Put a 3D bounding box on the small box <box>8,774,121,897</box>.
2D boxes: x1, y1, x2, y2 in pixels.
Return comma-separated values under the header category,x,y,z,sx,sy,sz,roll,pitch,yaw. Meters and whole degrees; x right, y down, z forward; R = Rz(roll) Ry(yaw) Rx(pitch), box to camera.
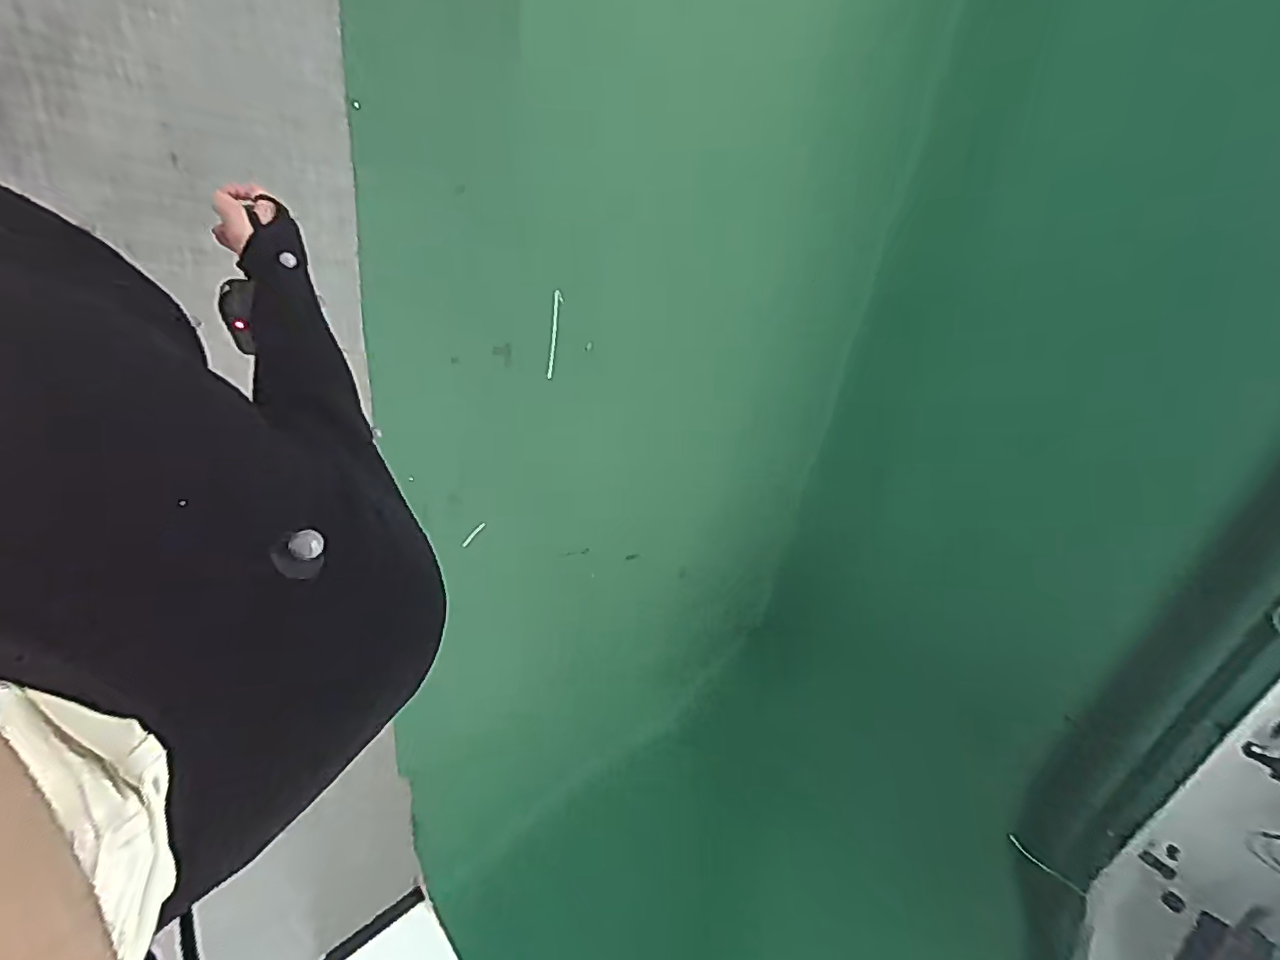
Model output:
category,x,y,z,sx,sy,sz,roll,pitch,yaw
small box,-1.530,0.937,1.442,0.179,0.176,0.168,-17,127,-43
